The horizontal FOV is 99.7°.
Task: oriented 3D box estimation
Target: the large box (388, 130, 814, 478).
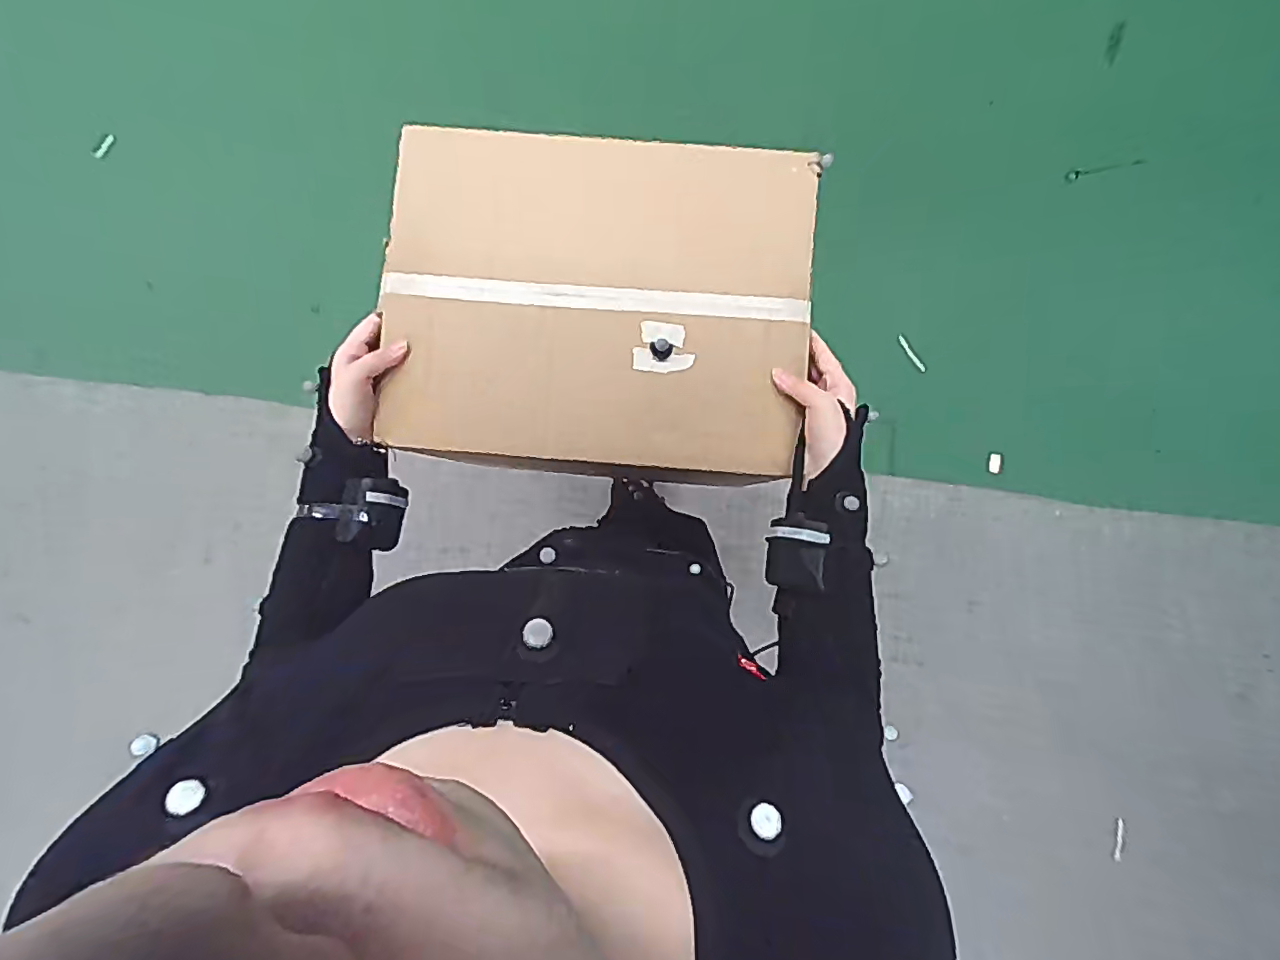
[{"bbox_3d":[-0.039,-0.173,0.672,0.408,0.320,0.320,4,88,0],"label":"large box"}]
